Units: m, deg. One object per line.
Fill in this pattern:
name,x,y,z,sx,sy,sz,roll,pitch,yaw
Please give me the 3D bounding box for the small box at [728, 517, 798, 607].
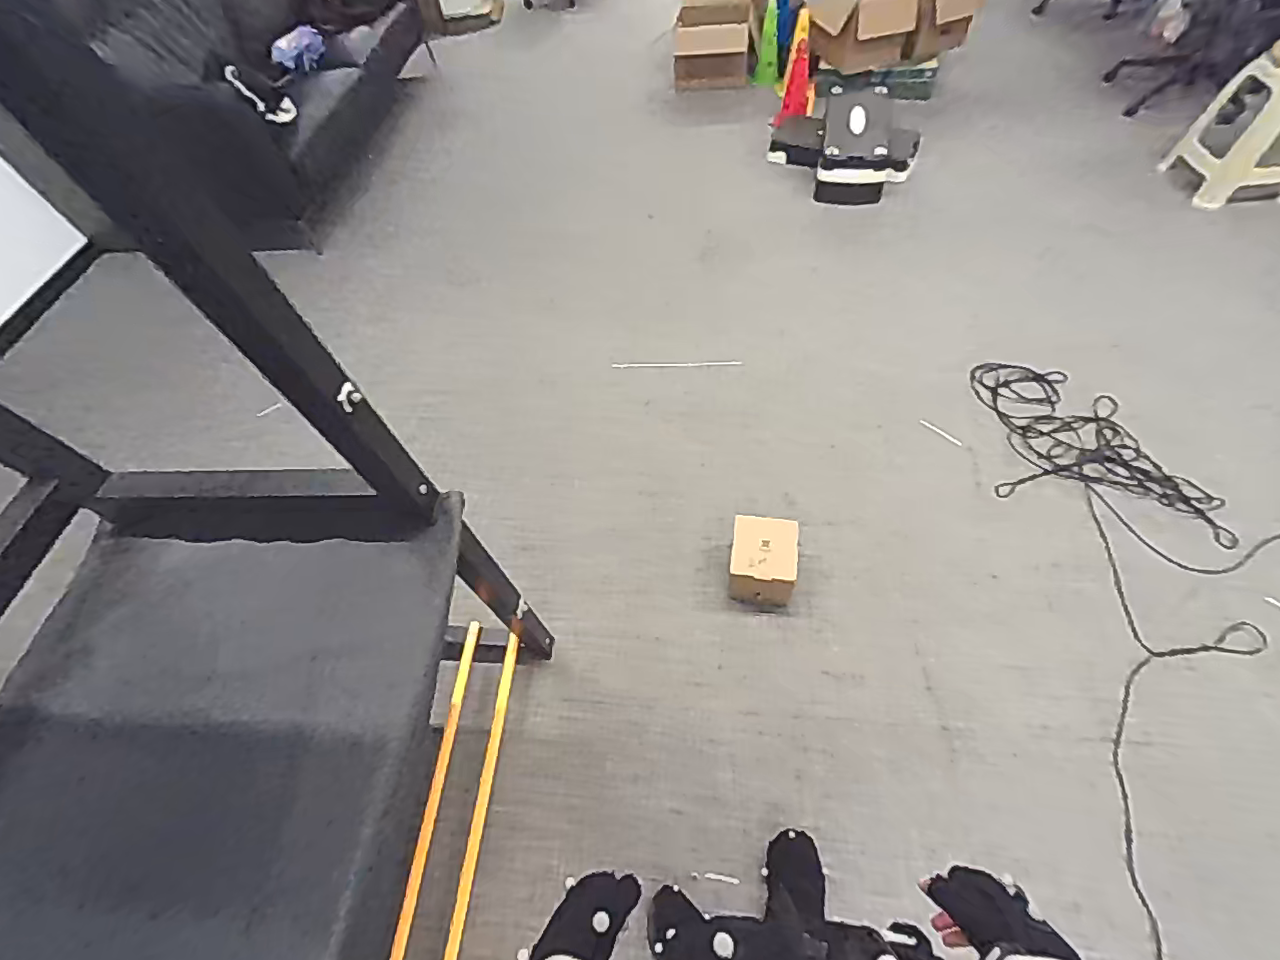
small box,0.331,0.223,1.464,0.168,0.176,0.179,5,58,11
